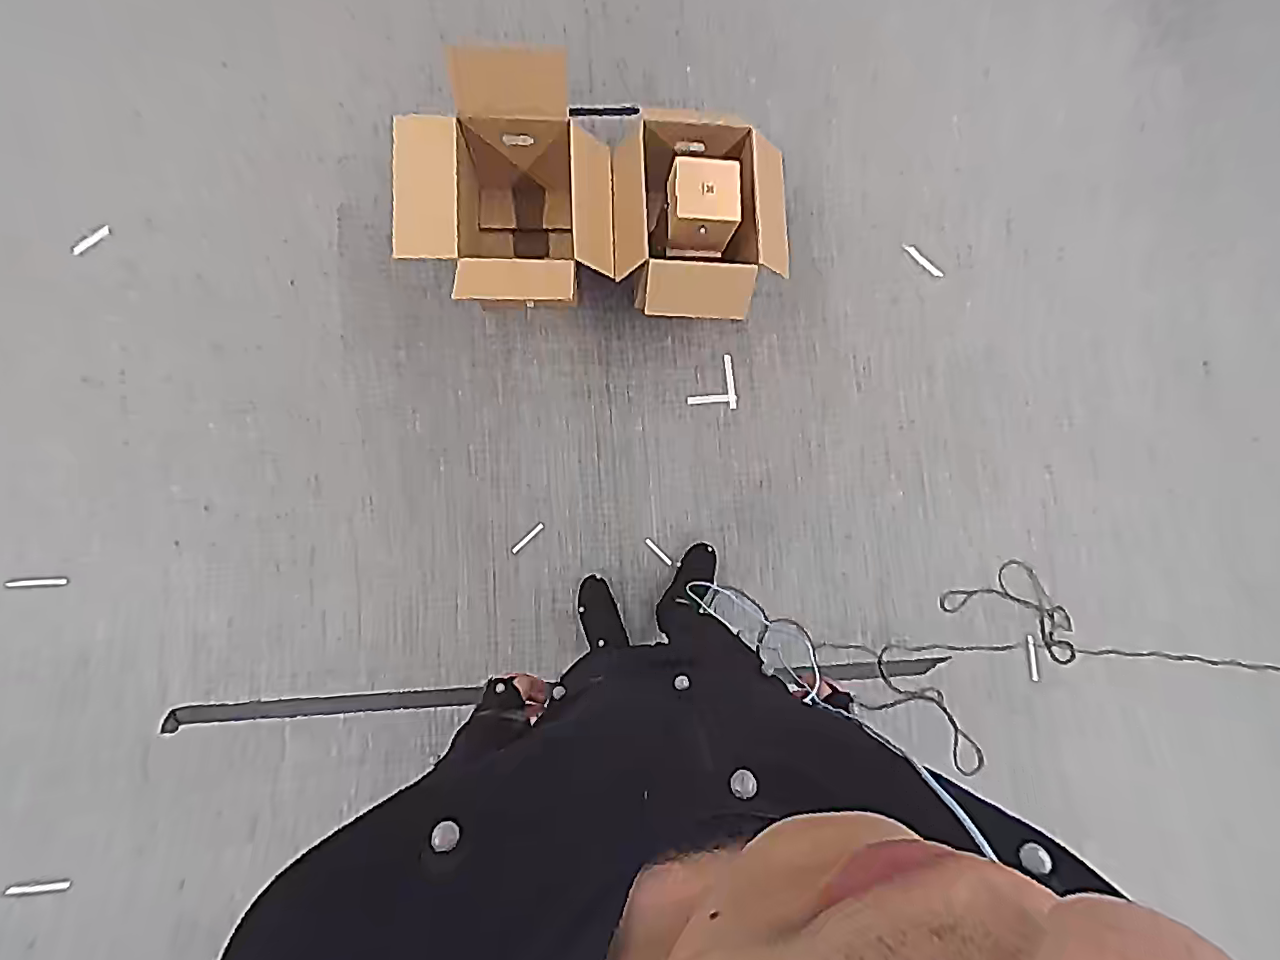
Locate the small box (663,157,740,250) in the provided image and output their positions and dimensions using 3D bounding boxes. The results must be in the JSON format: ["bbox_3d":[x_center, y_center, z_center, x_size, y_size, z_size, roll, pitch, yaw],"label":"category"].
[{"bbox_3d":[0.165,-0.751,1.485,0.179,0.176,0.168,0,86,-7],"label":"small box"}]
